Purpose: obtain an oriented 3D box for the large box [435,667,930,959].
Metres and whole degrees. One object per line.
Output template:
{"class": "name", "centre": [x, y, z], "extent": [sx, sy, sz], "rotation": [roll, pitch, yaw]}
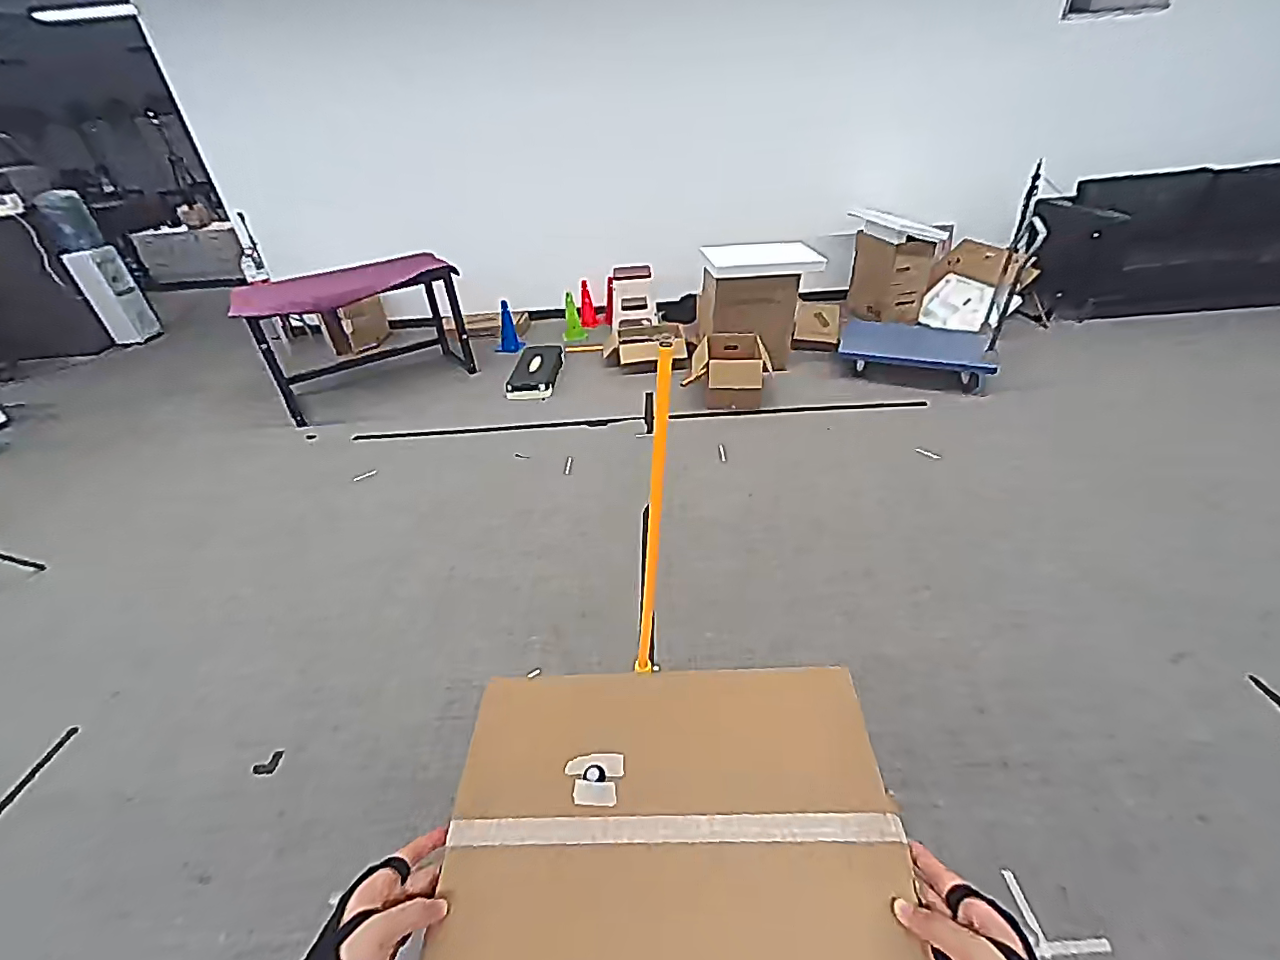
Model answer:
{"class": "large box", "centre": [0.046, 0.437, 0.595], "extent": [0.408, 0.320, 0.320], "rotation": [-5, 40, 5]}
